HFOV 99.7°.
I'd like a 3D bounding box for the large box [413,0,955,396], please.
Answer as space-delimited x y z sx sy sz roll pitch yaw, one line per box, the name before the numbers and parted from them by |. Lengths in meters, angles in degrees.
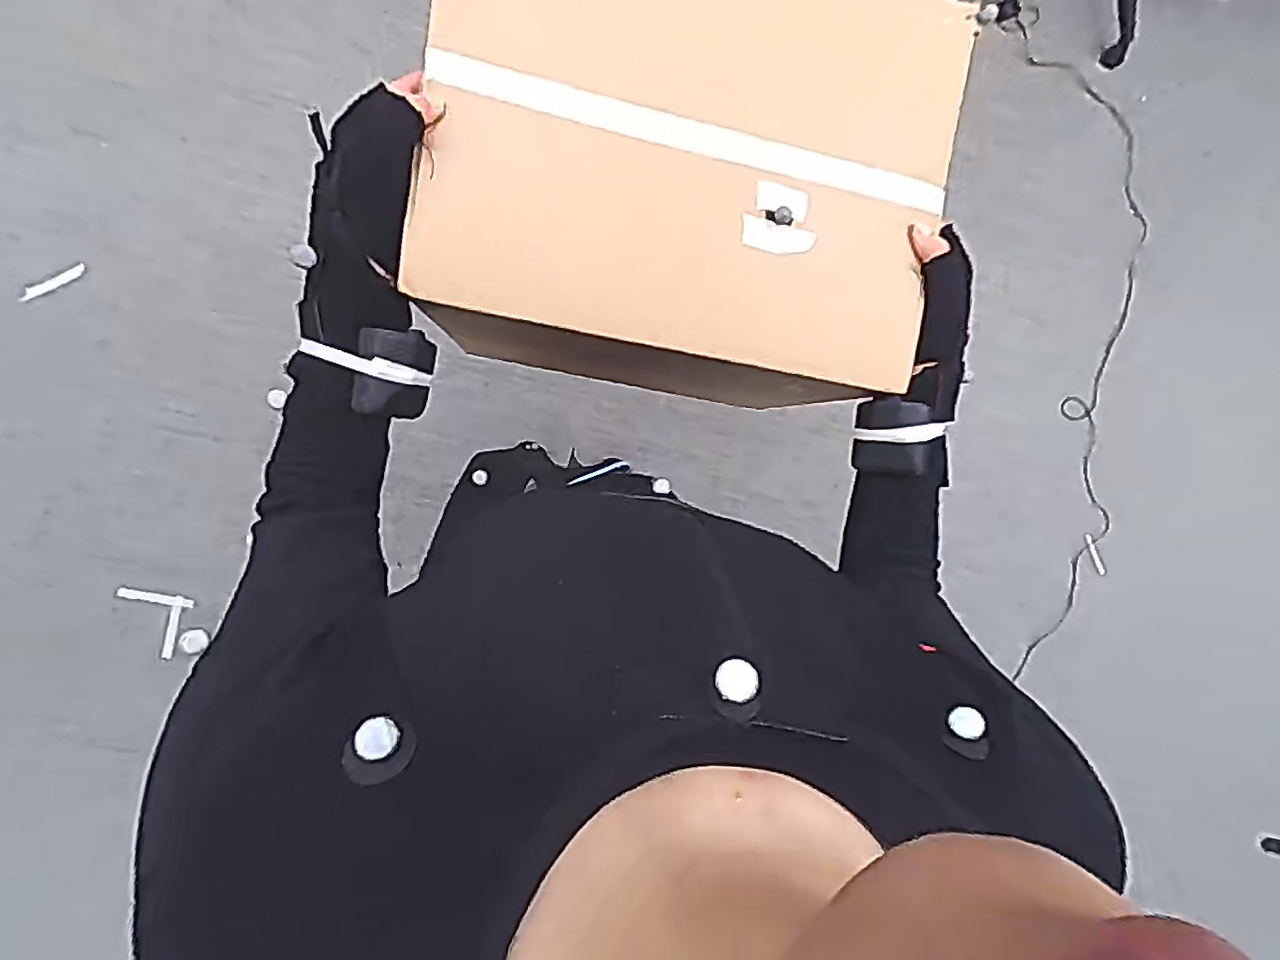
large box | 0.019 -0.277 0.564 0.408 0.320 0.320 8 95 -11
